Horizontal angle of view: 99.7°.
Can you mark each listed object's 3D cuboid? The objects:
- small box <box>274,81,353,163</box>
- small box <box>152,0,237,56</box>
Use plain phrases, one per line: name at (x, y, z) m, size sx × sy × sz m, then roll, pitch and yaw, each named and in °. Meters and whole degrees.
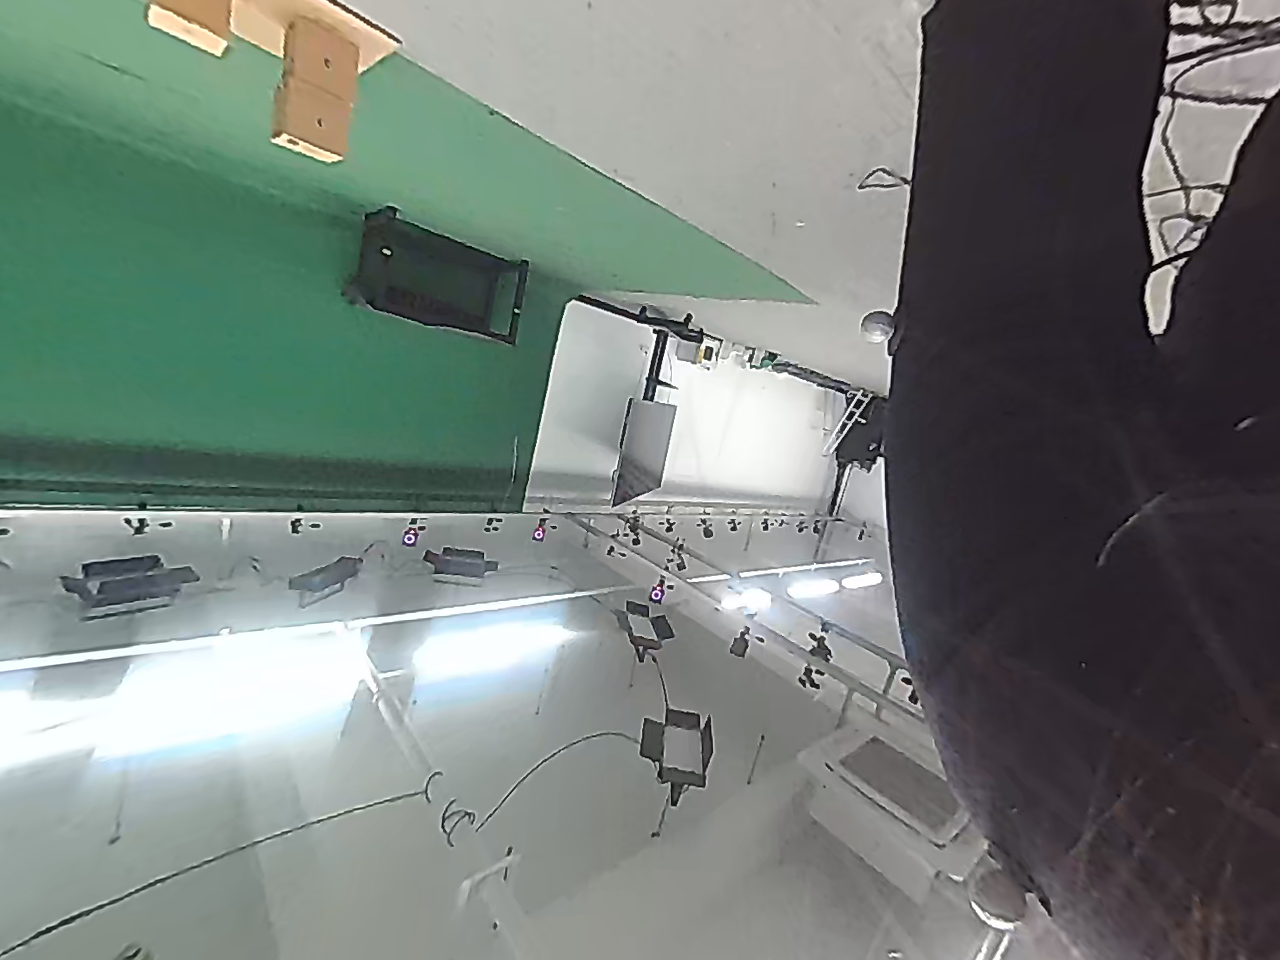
small box at (-1.058, -1.164, 1.754) m, size 0.168 × 0.176 × 0.179 m, roll 22°, pitch -165°, yaw 40°
small box at (-1.234, -1.336, 1.499) m, size 0.168 × 0.176 × 0.179 m, roll 4°, pitch -167°, yaw -44°
